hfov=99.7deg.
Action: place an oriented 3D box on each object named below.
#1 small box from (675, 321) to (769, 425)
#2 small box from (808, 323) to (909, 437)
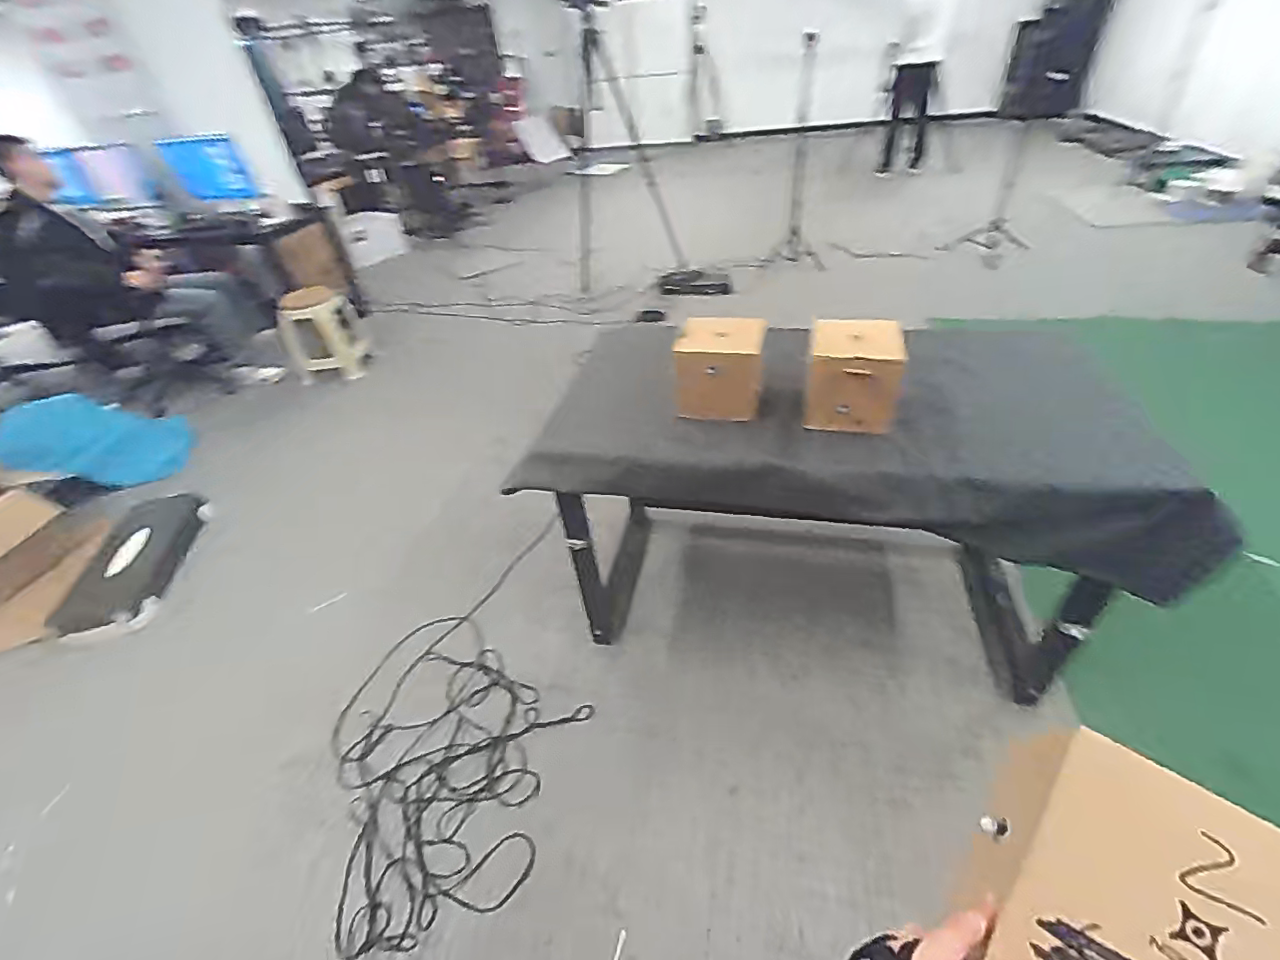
[{"bbox_3d":[0.184,-0.236,1.192,0.179,0.176,0.168,7,41,16],"label":"small box"},{"bbox_3d":[0.443,-0.210,1.120,0.168,0.176,0.179,6,41,15],"label":"small box"}]
